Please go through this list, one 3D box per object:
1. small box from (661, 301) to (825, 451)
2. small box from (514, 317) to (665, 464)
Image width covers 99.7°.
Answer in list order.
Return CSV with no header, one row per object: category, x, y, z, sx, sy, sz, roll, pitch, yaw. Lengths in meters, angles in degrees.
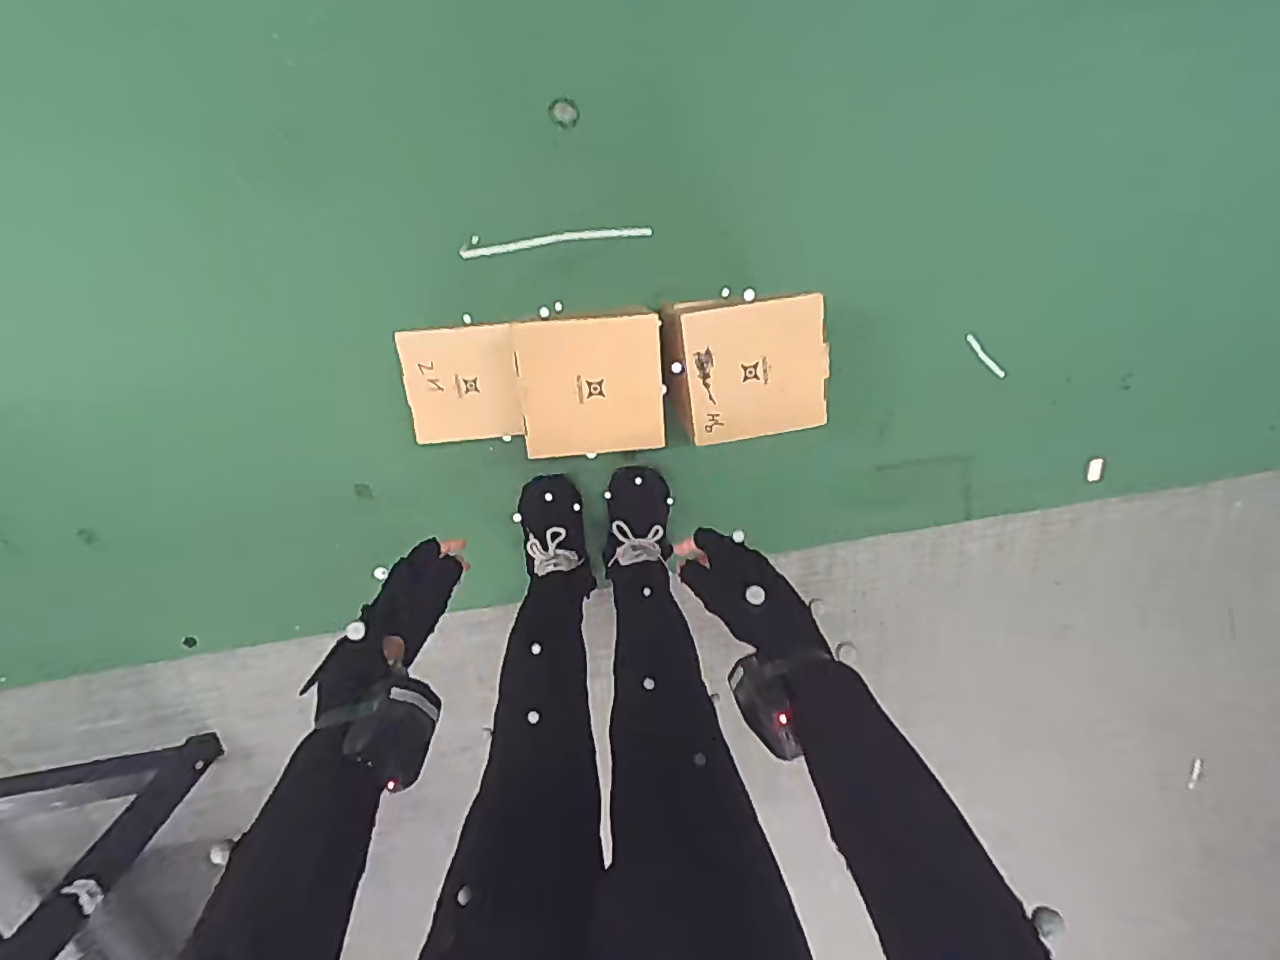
small box,0.135,-0.152,0.746,0.179,0.176,0.168,-10,109,-4
small box,-0.065,-0.129,0.735,0.179,0.176,0.168,-4,109,-3
